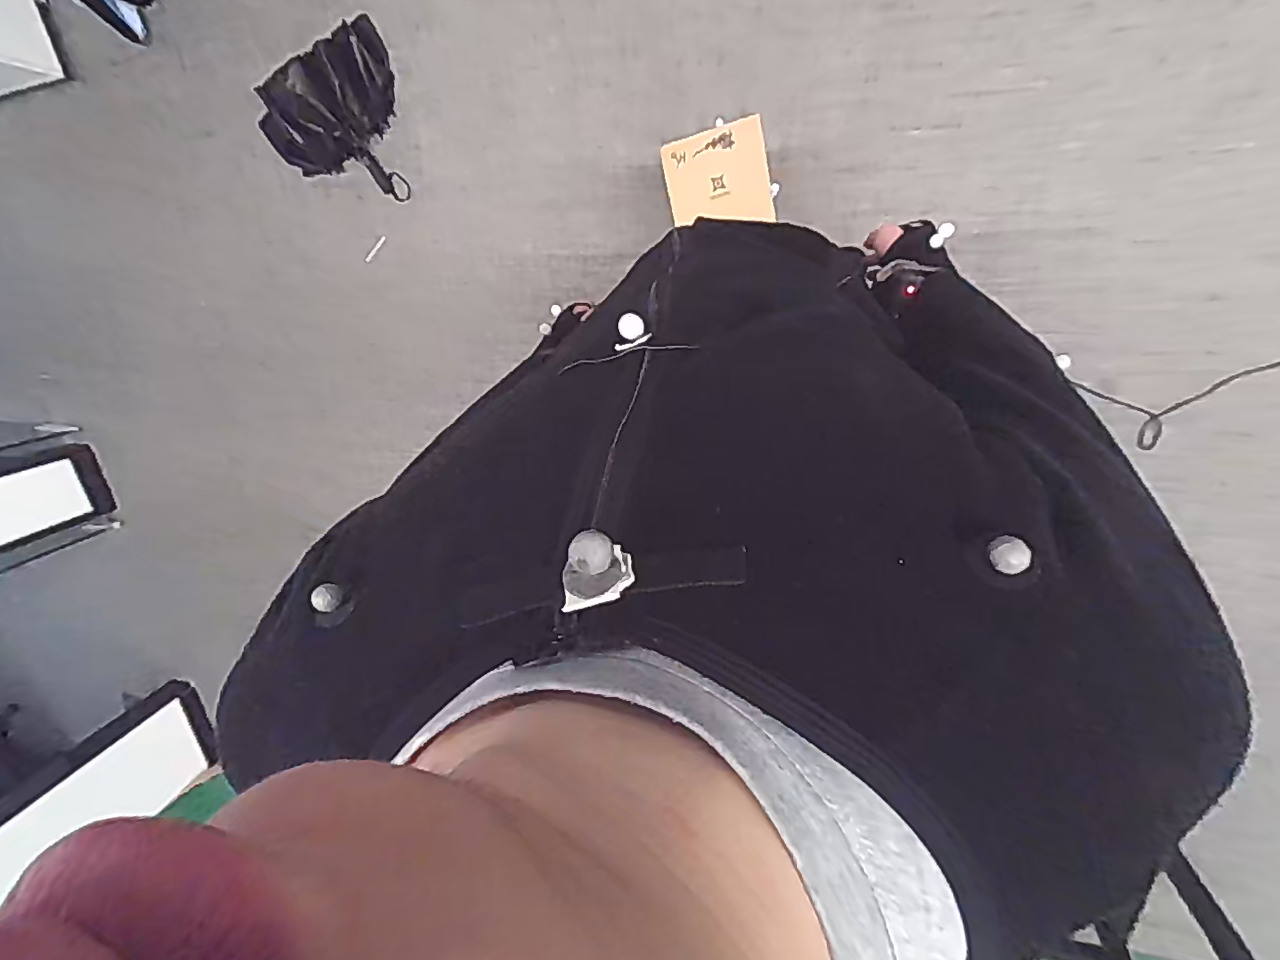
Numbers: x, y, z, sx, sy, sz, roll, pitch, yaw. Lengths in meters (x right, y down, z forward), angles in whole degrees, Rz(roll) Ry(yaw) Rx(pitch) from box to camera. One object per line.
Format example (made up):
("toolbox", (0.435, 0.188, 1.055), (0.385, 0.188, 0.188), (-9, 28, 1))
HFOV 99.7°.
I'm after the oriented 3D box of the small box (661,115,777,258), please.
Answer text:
("small box", (0.148, -0.507, 0.954), (0.168, 0.176, 0.179), (-8, 112, 18))
